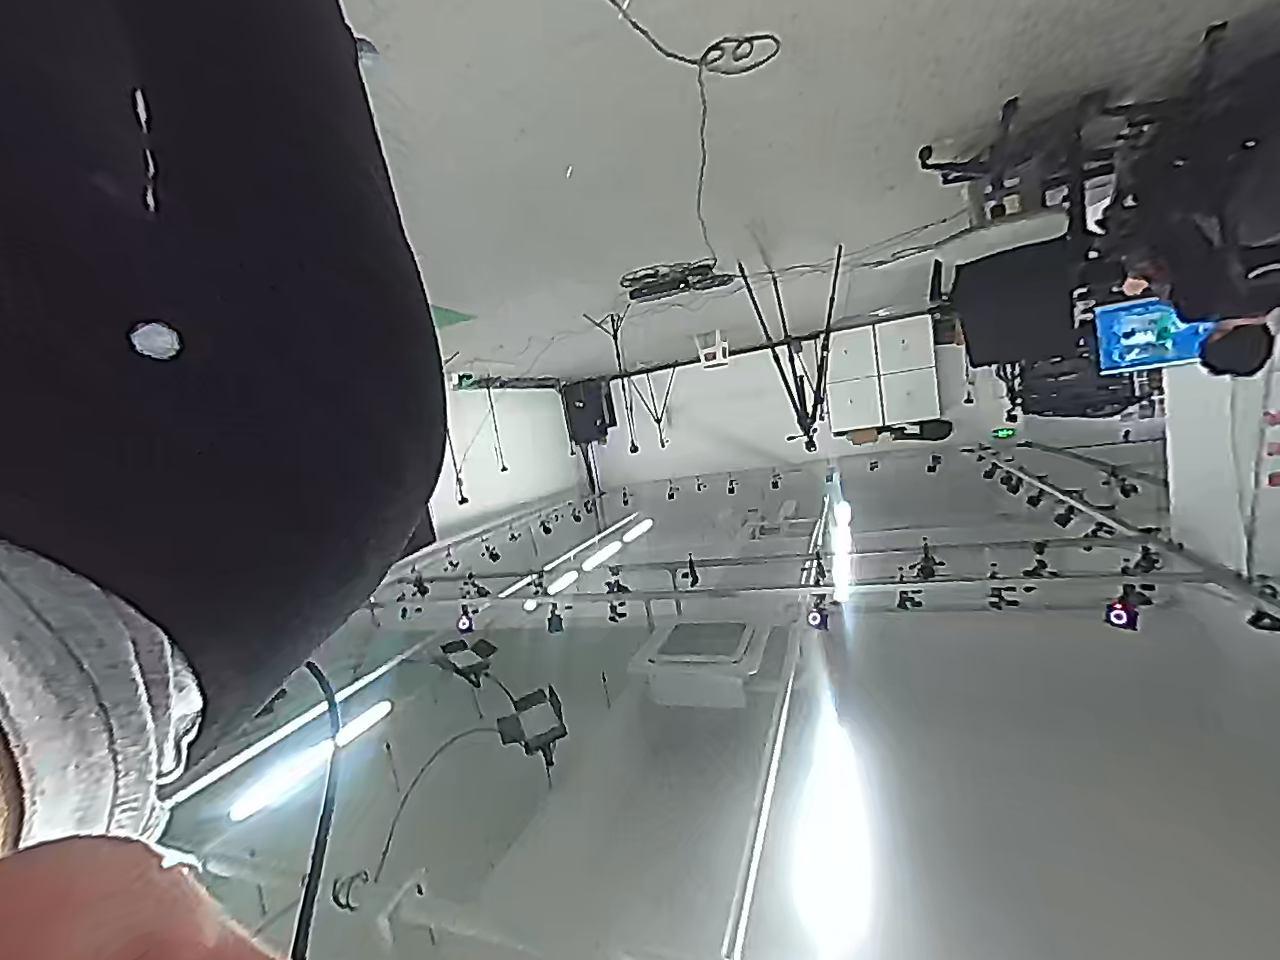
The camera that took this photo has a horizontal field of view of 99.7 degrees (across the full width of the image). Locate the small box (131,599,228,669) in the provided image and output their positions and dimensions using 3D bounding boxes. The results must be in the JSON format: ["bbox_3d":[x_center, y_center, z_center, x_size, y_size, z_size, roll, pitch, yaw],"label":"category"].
[{"bbox_3d":[-1.476,0.487,1.729,0.179,0.176,0.168,-7,-173,25],"label":"small box"}]
